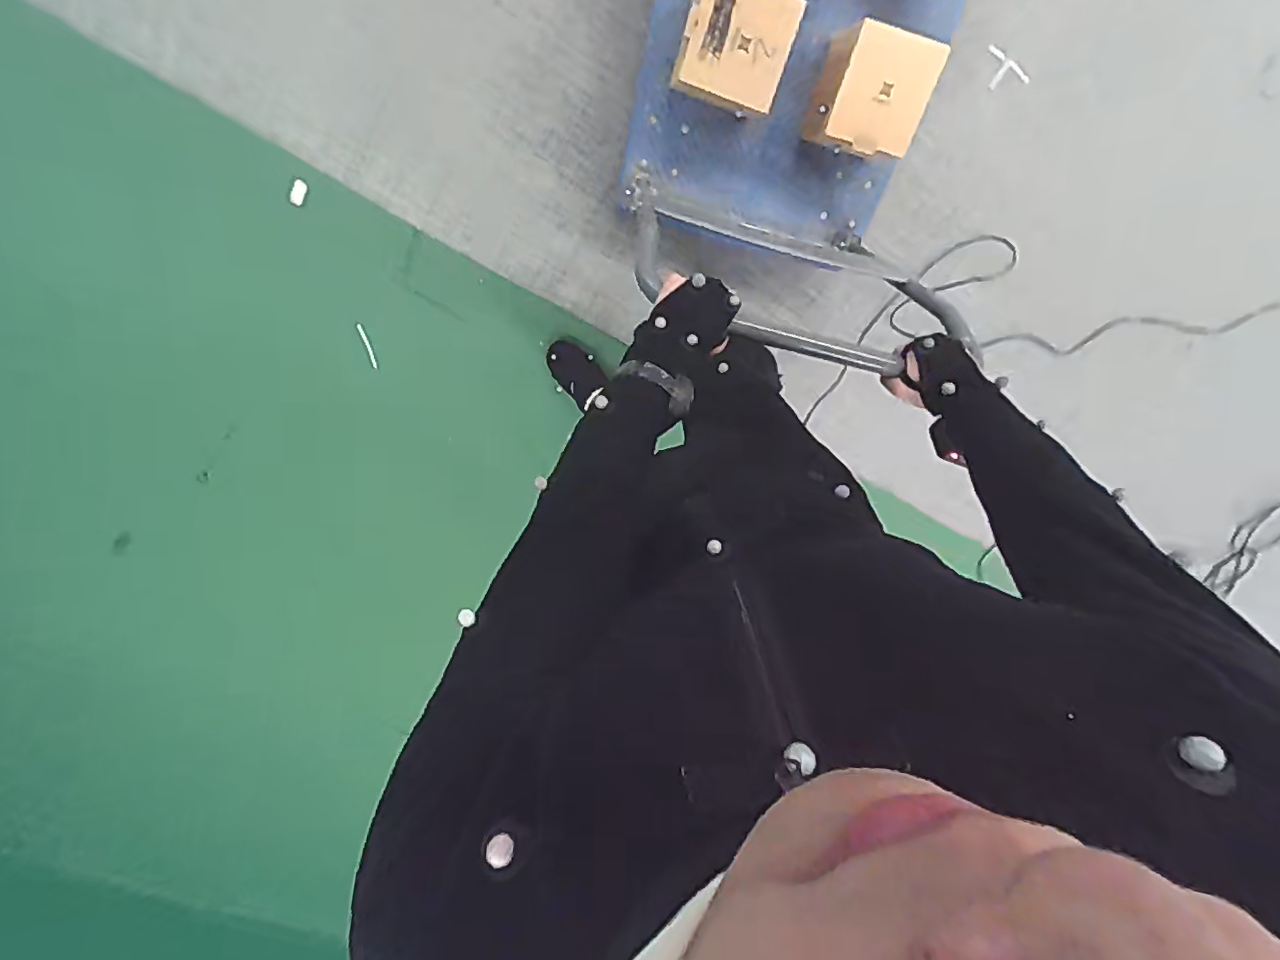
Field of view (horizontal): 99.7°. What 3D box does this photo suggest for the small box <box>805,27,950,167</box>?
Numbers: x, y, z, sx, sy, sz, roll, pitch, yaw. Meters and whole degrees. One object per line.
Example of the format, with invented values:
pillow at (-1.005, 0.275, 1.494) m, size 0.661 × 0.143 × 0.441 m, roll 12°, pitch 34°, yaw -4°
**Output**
small box at (0.440, -0.724, 1.038) m, size 0.168 × 0.176 × 0.179 m, roll 12°, pitch 122°, yaw -9°
